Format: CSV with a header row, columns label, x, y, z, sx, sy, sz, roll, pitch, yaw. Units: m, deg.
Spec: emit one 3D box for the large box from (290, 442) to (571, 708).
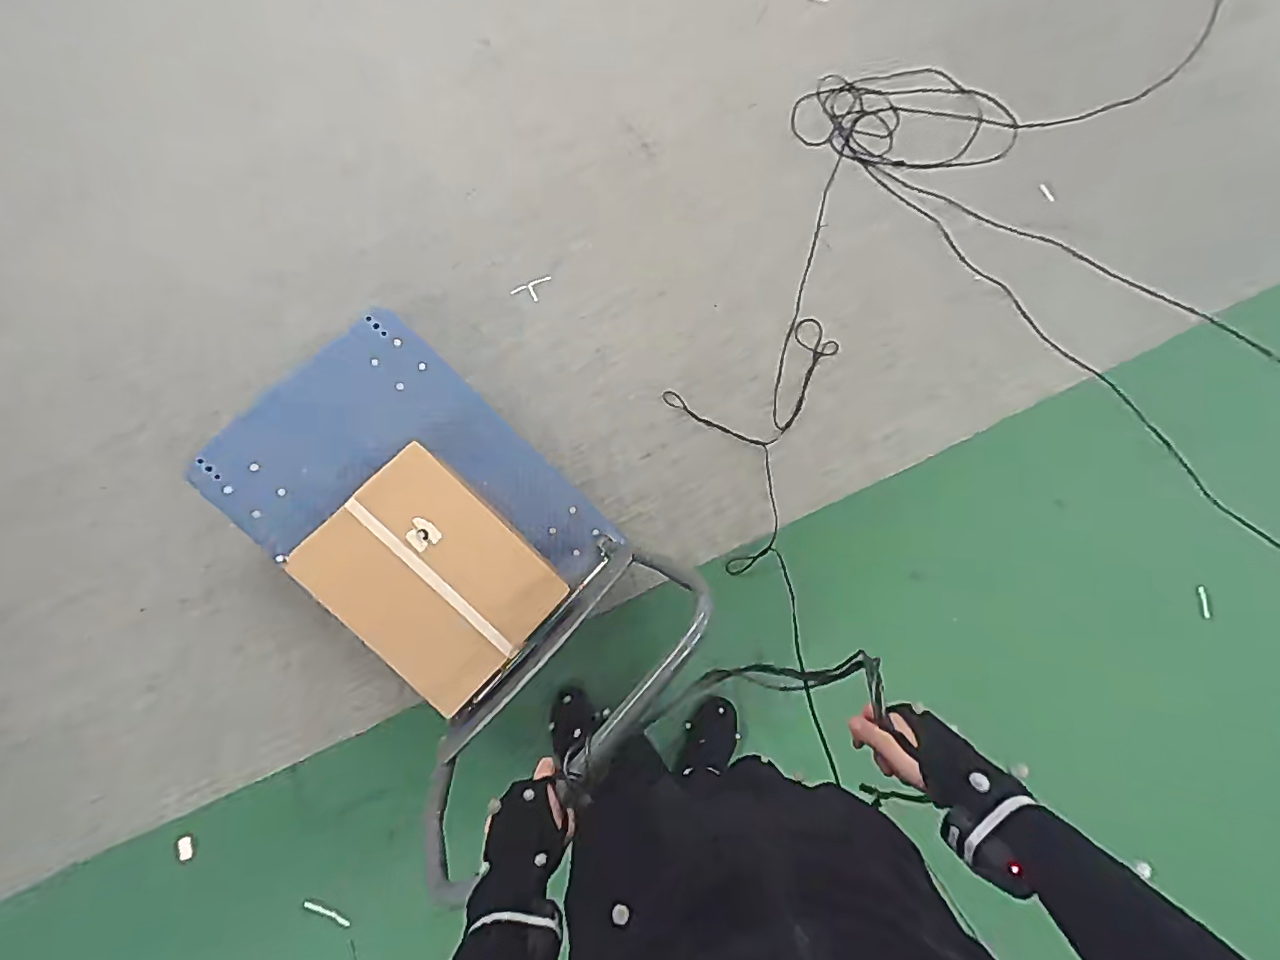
label,x,y,z,sx,sy,sz,roll,pitch,yaw
large box,-0.393,0.185,1.128,0.408,0.320,0.320,44,79,-3
